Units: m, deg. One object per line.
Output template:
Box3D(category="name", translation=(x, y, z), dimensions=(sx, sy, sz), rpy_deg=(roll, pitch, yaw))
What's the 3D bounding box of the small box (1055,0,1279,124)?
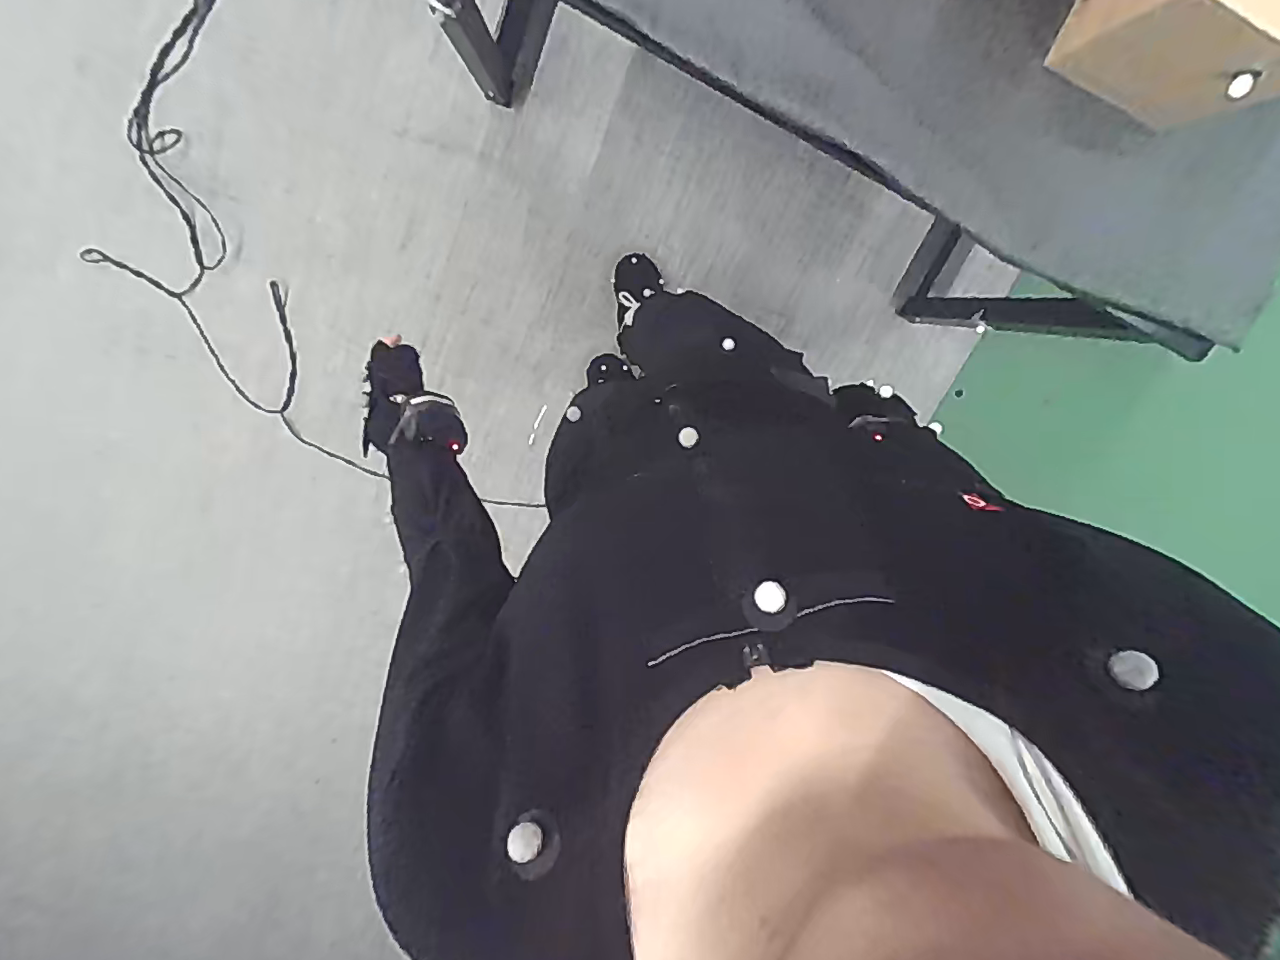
Box3D(category="small box", translation=(0.575, -0.482, 0.526), dimensions=(0.179, 0.176, 0.168), rpy_deg=(20, 106, -9))
